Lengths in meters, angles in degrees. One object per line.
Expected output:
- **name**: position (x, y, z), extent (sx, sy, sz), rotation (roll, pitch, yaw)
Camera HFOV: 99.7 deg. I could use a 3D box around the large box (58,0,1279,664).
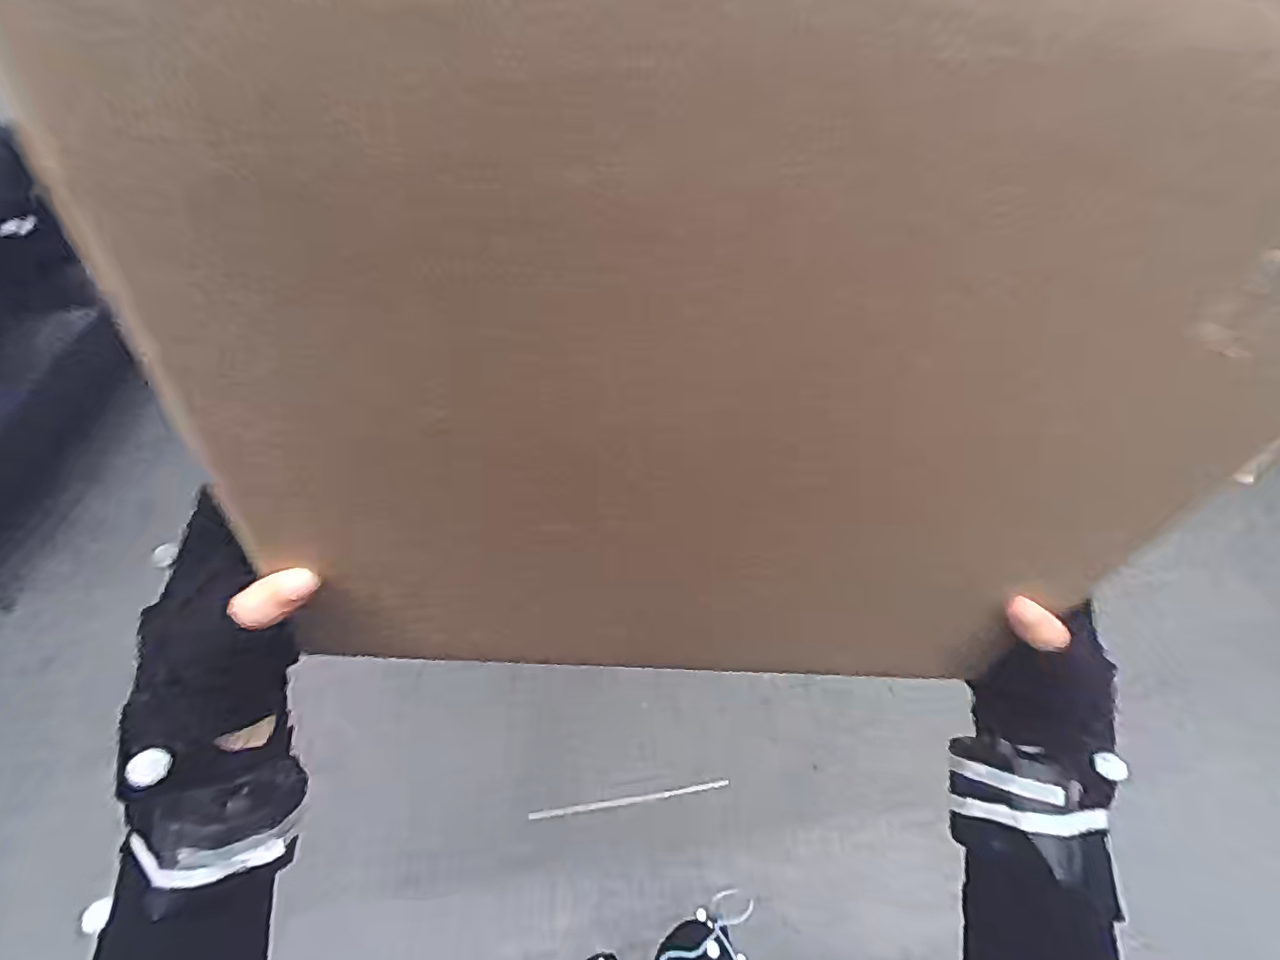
- **large box**: position (0.039, -0.104, 0.327), extent (0.408, 0.320, 0.320), rotation (5, 43, -10)
